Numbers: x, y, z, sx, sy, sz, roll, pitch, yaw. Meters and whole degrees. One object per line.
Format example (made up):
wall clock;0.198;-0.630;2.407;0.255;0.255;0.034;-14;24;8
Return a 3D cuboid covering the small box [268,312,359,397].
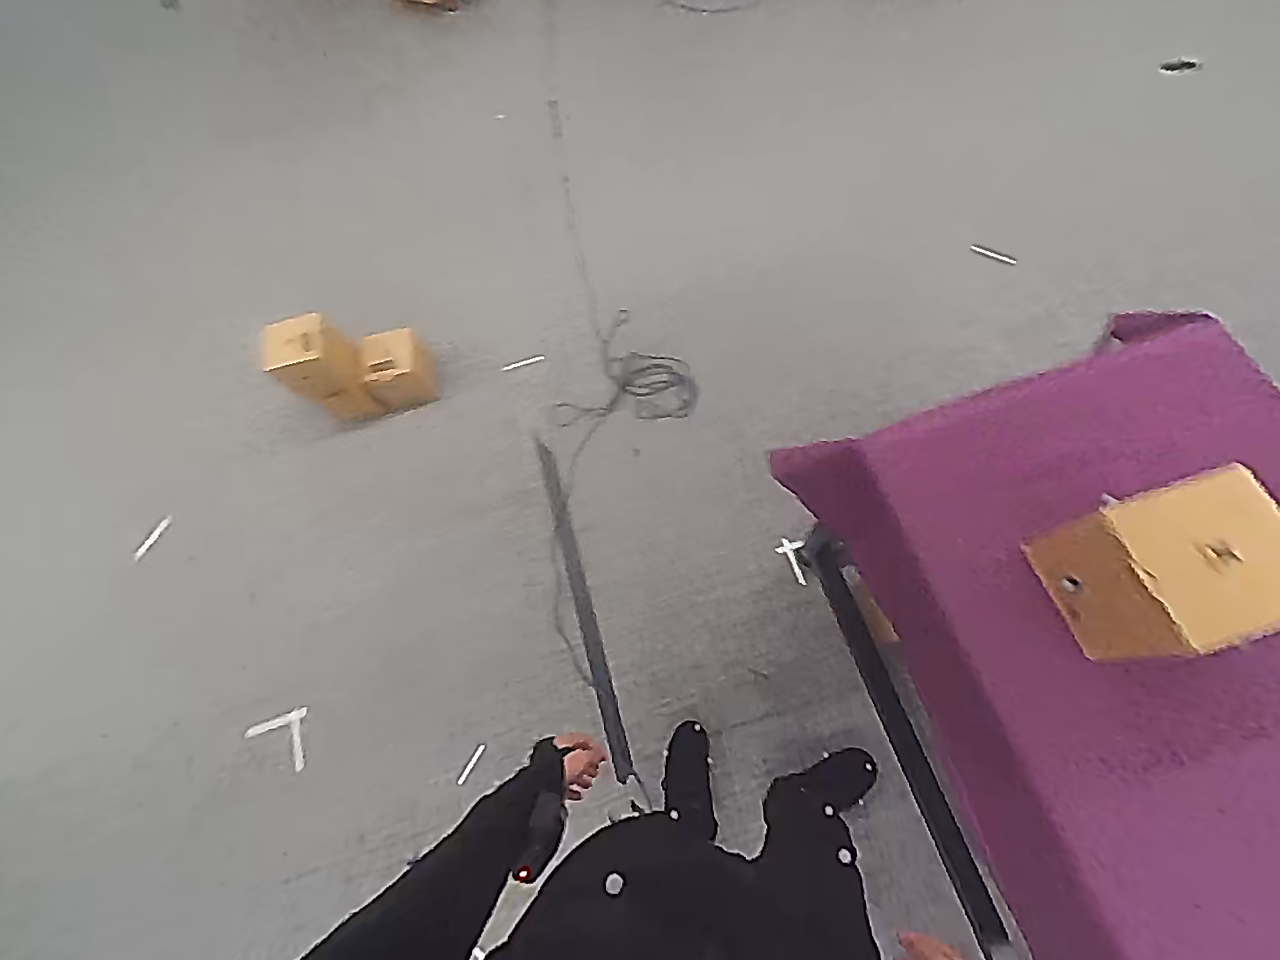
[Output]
small box;-0.976;-0.372;1.632;0.179;0.176;0.168;-13;68;3

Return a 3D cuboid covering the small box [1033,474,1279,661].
small box;0.645;0.115;0.663;0.179;0.176;0.168;-18;69;0
